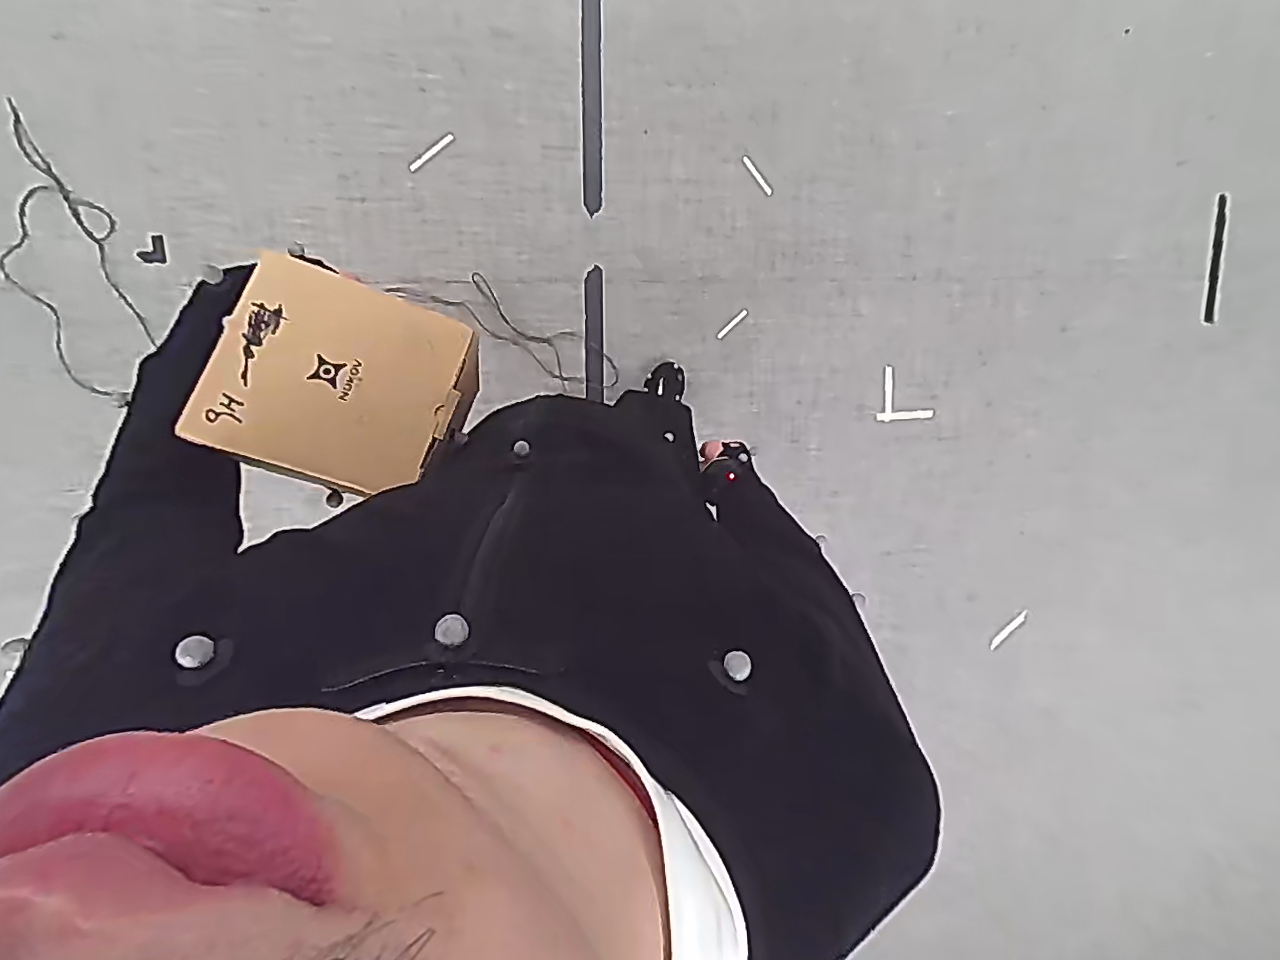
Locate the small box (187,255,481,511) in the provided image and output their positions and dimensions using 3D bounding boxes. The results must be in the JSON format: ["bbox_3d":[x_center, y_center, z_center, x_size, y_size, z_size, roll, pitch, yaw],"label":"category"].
[{"bbox_3d":[-0.266,-0.073,0.522,0.179,0.176,0.168,19,77,-13],"label":"small box"}]
